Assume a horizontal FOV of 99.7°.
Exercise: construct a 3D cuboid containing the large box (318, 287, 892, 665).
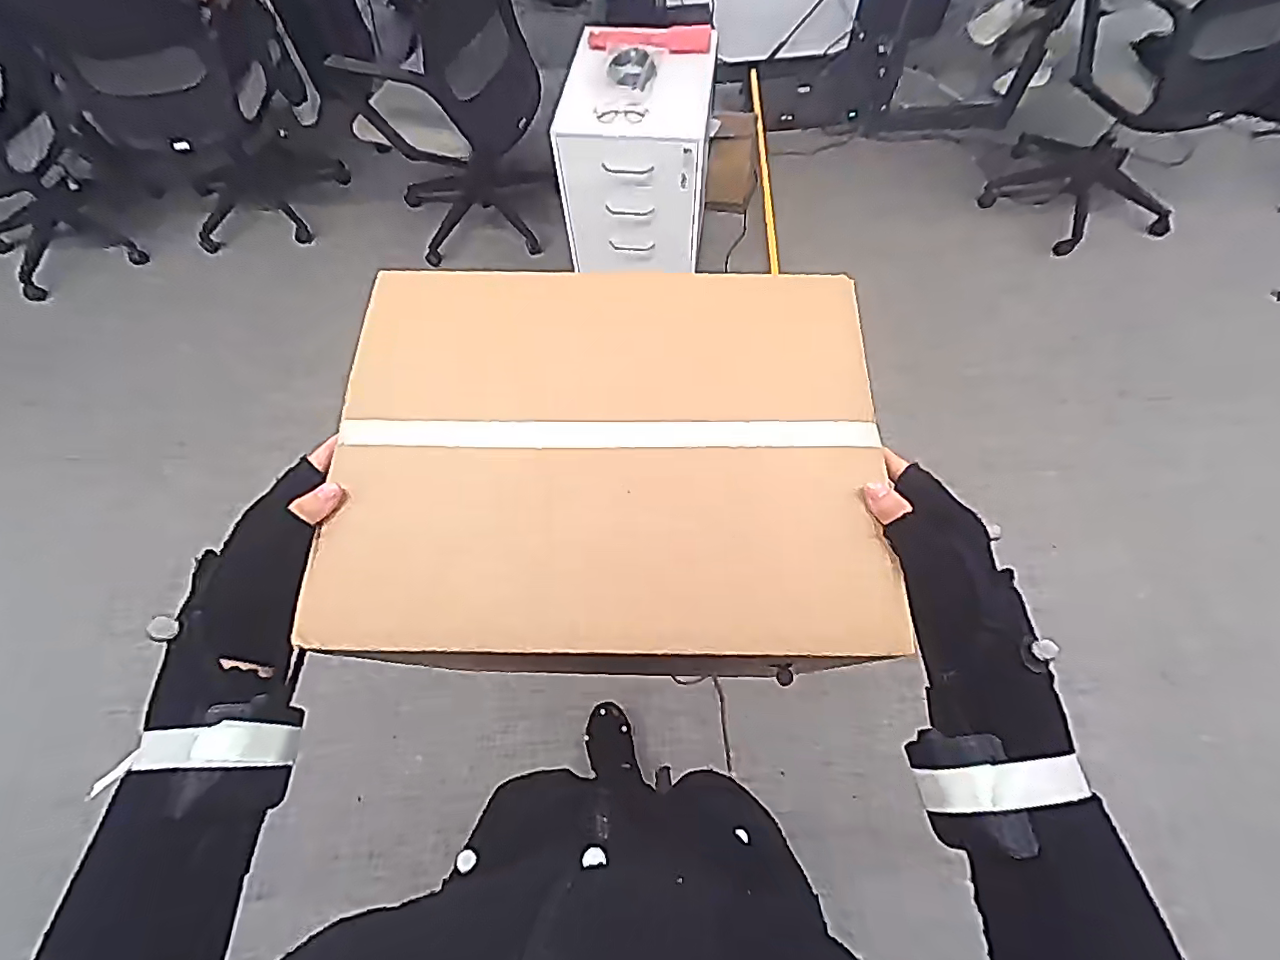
[{"bbox_3d":[-0.021,0.027,0.561,0.408,0.320,0.320,1,68,1],"label":"large box"}]
